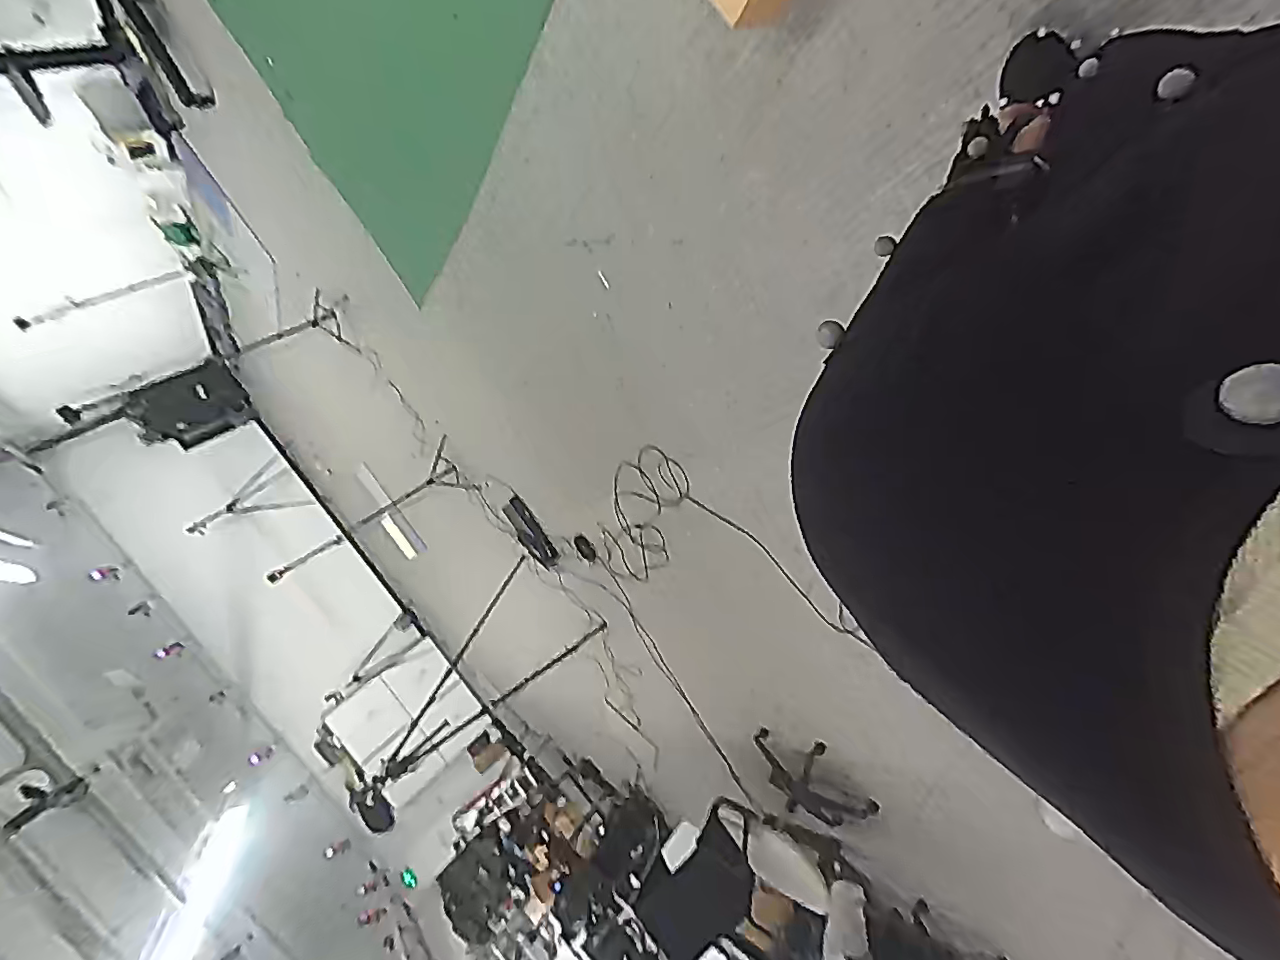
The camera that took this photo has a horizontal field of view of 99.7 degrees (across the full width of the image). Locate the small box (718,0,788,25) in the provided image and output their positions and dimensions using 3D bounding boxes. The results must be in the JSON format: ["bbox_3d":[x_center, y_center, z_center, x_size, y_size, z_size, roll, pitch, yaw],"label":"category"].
[{"bbox_3d":[0.232,-1.043,1.055,0.179,0.176,0.168,54,145,-1],"label":"small box"}]
